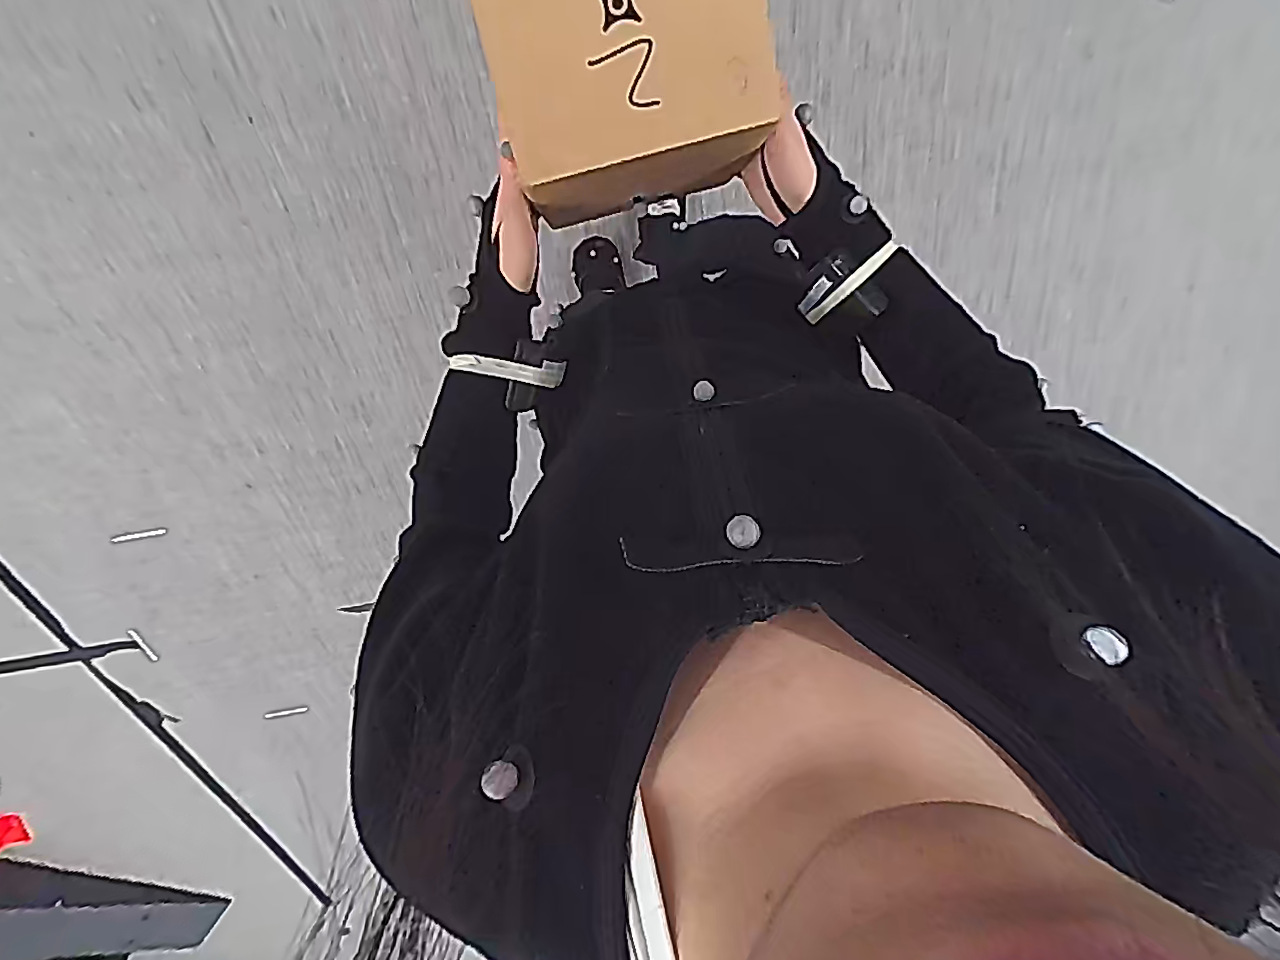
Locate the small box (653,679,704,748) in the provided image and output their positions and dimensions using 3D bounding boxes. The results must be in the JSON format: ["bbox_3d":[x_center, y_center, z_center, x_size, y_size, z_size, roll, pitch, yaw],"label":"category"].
[{"bbox_3d":[0.144,0.878,2.053,0.168,0.176,0.179,-9,121,-1],"label":"small box"}]

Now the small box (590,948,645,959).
[{"bbox_3d":[-0.064,1.453,1.508,0.179,0.176,0.168,-9,121,-3],"label":"small box"}]
